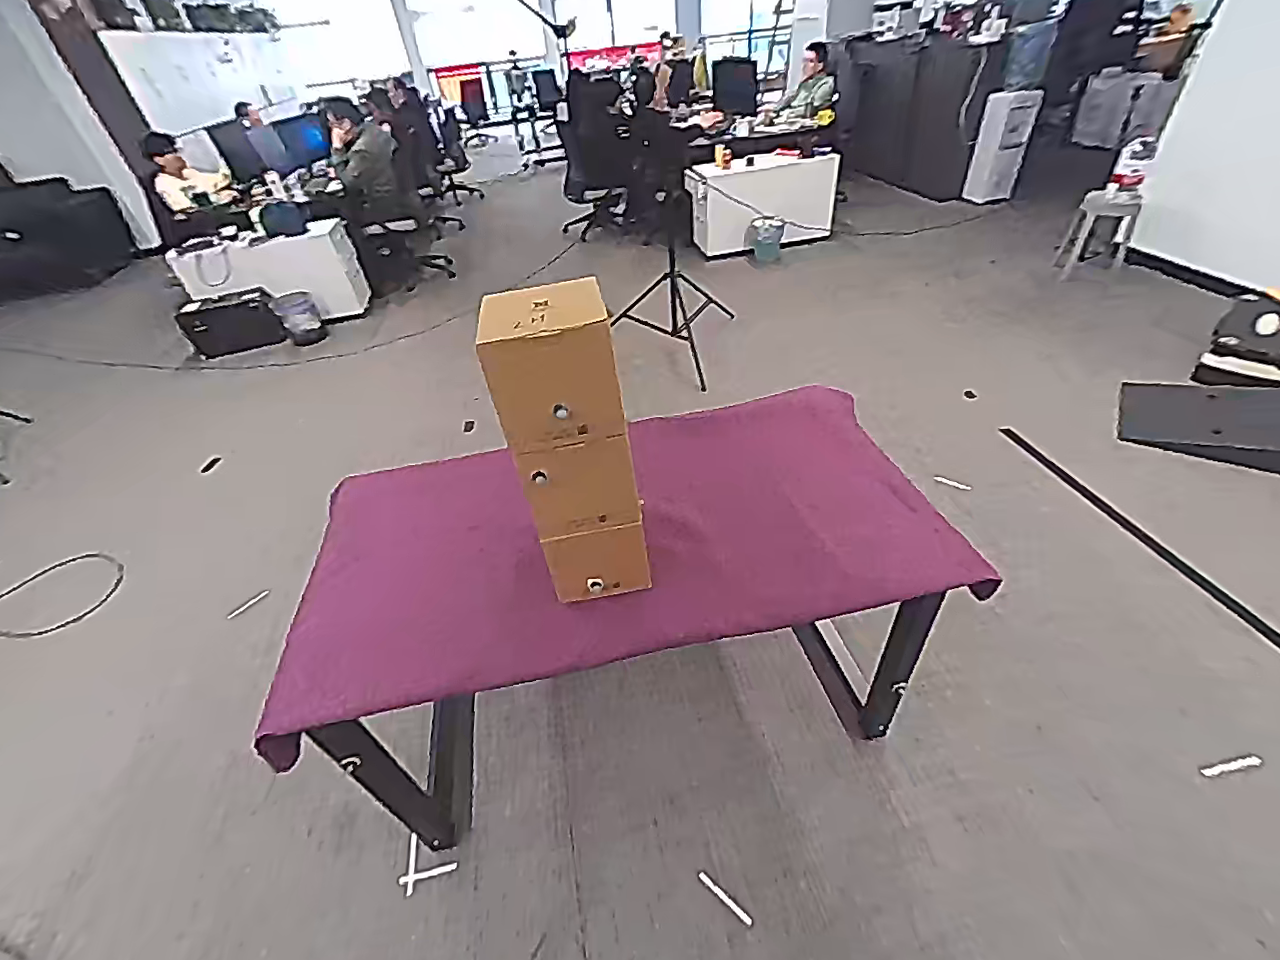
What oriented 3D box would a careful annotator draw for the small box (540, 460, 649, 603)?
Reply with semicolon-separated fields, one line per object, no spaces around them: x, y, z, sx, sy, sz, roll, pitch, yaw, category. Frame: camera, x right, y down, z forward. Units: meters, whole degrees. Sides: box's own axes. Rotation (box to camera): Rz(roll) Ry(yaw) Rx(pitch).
-0.082;0.092;0.973;0.168;0.176;0.179;-11;40;-3;small box

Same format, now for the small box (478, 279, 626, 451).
-0.120;-0.165;0.770;0.168;0.176;0.179;-12;39;-3;small box
